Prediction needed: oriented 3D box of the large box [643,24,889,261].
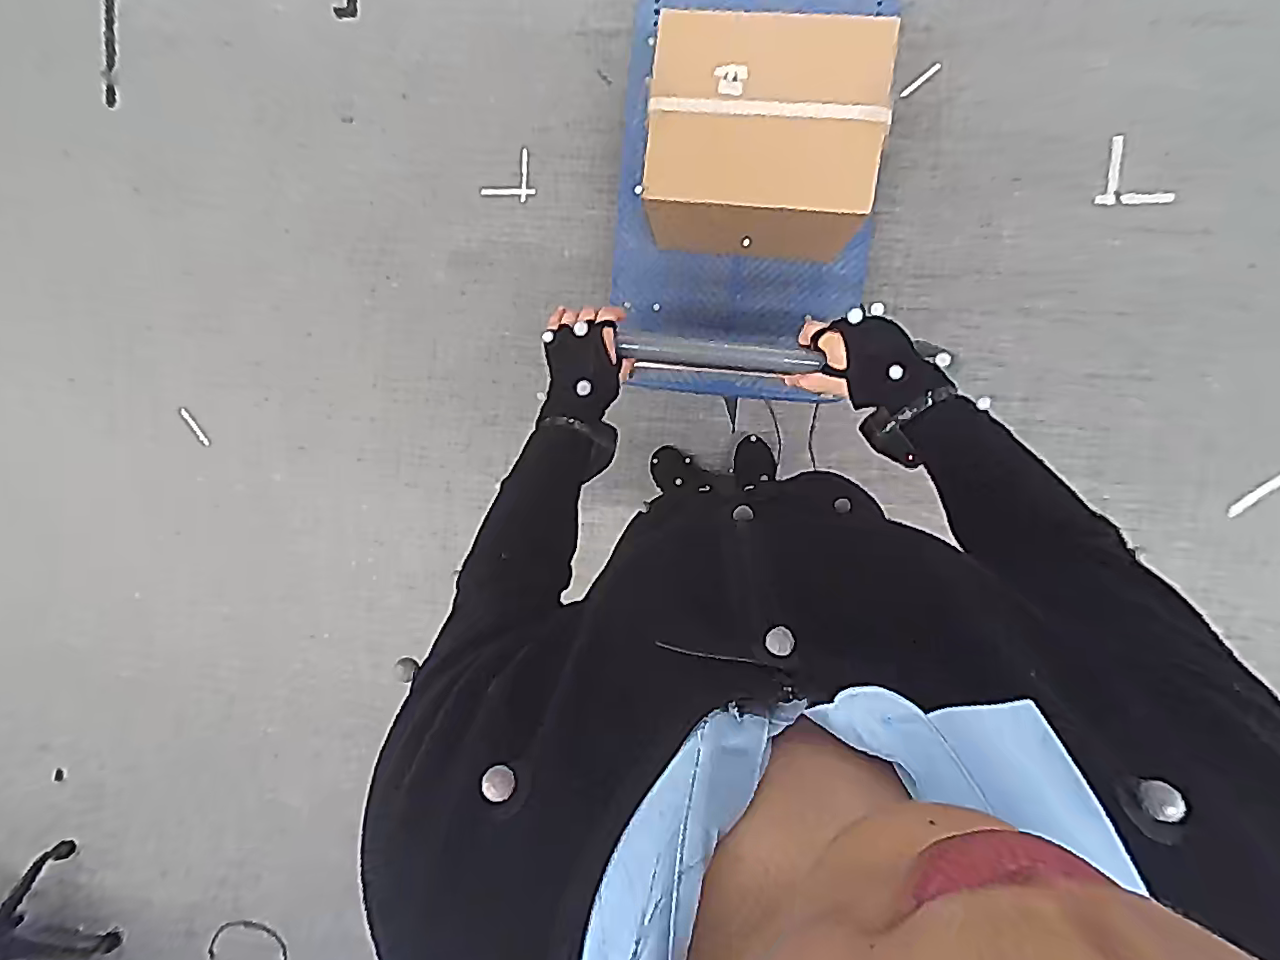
[{"bbox_3d":[0.236,-0.651,1.097,0.408,0.320,0.320,7,96,7],"label":"large box"}]
